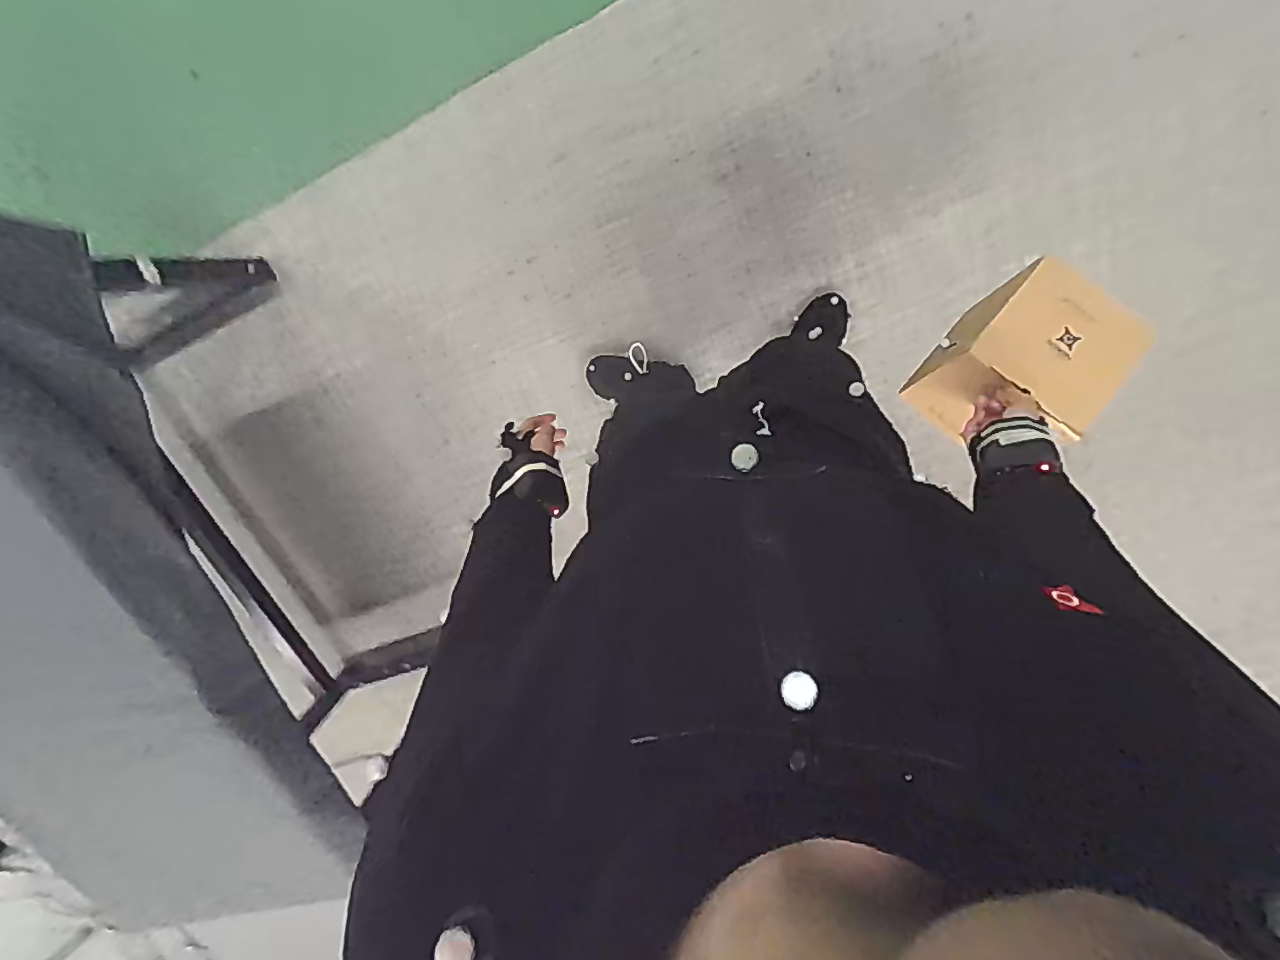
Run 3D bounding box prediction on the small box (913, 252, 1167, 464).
[{"bbox_3d":[0.491,-0.141,0.697,0.168,0.176,0.179,41,81,3],"label":"small box"}]
